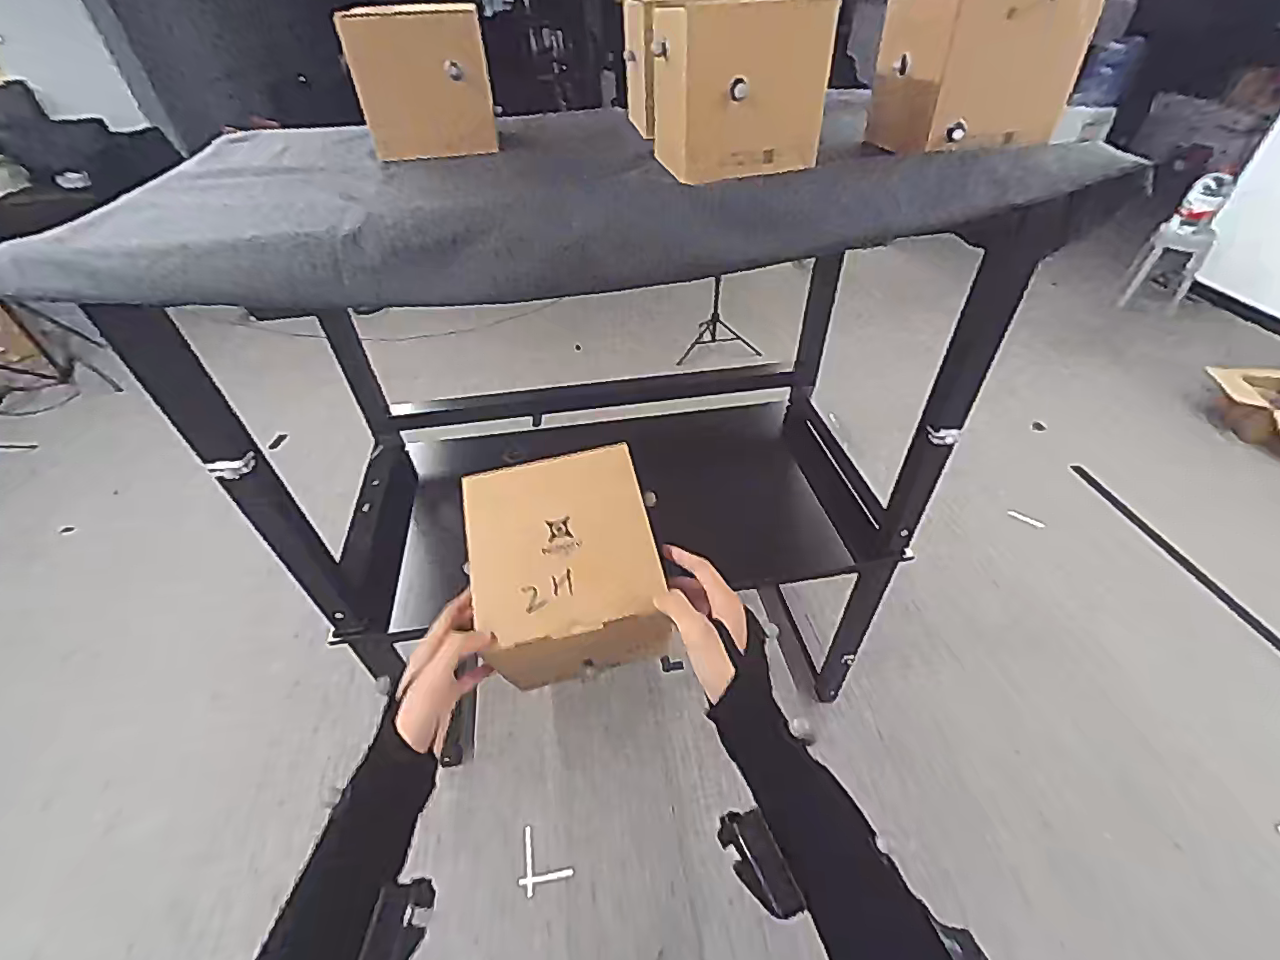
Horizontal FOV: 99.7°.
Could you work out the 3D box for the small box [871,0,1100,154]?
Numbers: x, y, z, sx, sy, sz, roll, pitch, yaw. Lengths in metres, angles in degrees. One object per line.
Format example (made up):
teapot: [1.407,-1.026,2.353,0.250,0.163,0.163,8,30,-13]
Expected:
small box: [0.414,-0.514,0.672,0.168,0.176,0.179,-6,39,-3]

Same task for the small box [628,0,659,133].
small box: [0.073,-0.658,0.850,0.168,0.176,0.179,-8,43,-6]

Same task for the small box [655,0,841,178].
small box: [0.117,-0.472,0.648,0.168,0.176,0.179,-9,41,-6]
